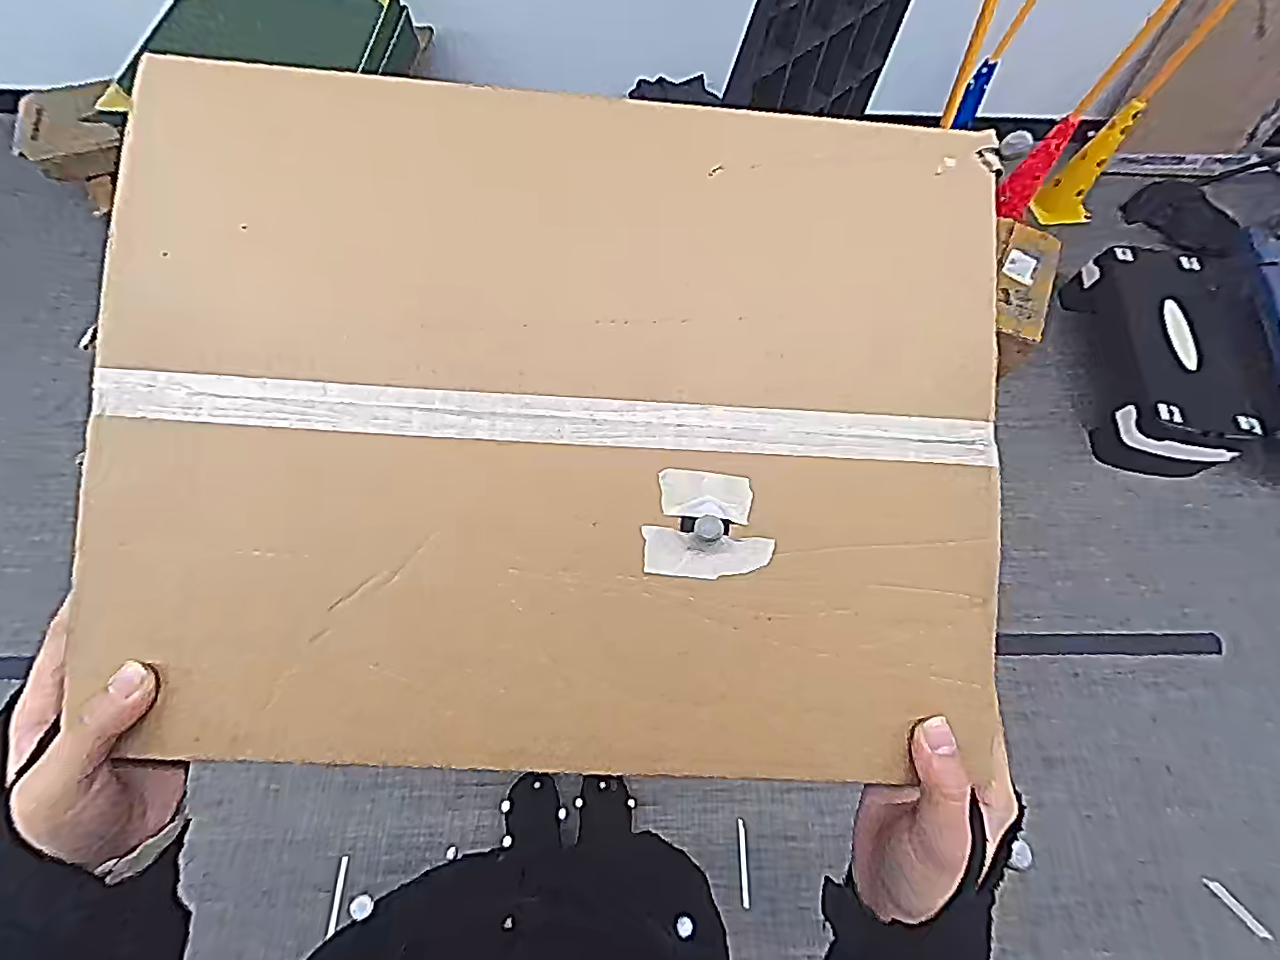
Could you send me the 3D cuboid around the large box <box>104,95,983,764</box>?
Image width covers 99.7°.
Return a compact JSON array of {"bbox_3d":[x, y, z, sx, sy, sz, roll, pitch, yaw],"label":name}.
[{"bbox_3d":[-0.041,-0.014,0.406,0.408,0.320,0.320,3,87,-3],"label":"large box"}]
